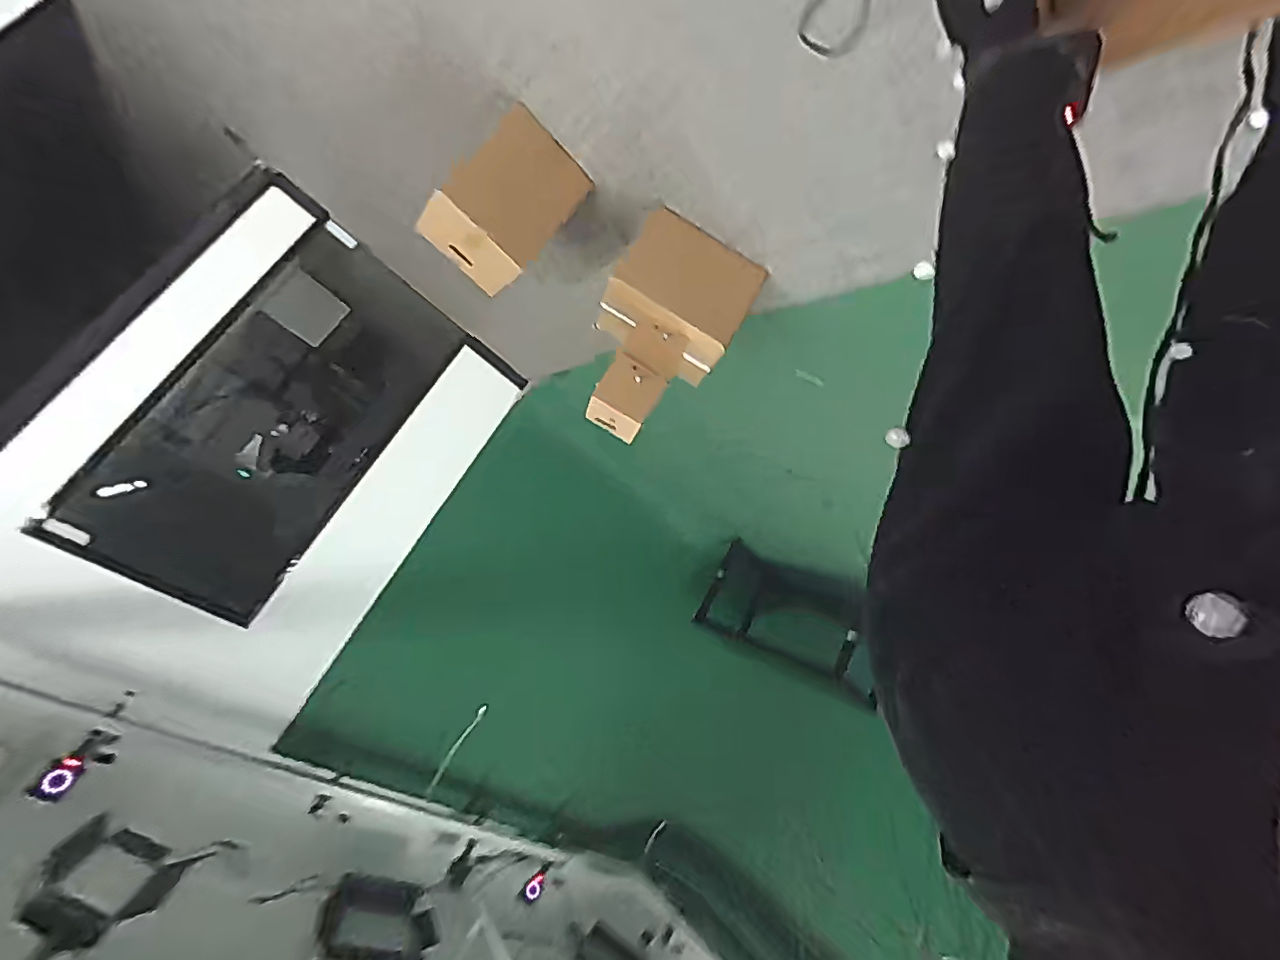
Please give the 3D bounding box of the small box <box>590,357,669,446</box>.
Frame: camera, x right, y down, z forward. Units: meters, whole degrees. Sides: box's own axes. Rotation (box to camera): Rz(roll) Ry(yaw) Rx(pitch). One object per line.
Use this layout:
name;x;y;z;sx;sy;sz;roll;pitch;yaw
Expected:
small box;-0.033;-0.236;1.633;0.168;0.176;0.179;31;162;-3

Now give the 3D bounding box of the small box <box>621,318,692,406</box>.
small box;0.045;-0.367;1.694;0.168;0.176;0.179;30;162;2
